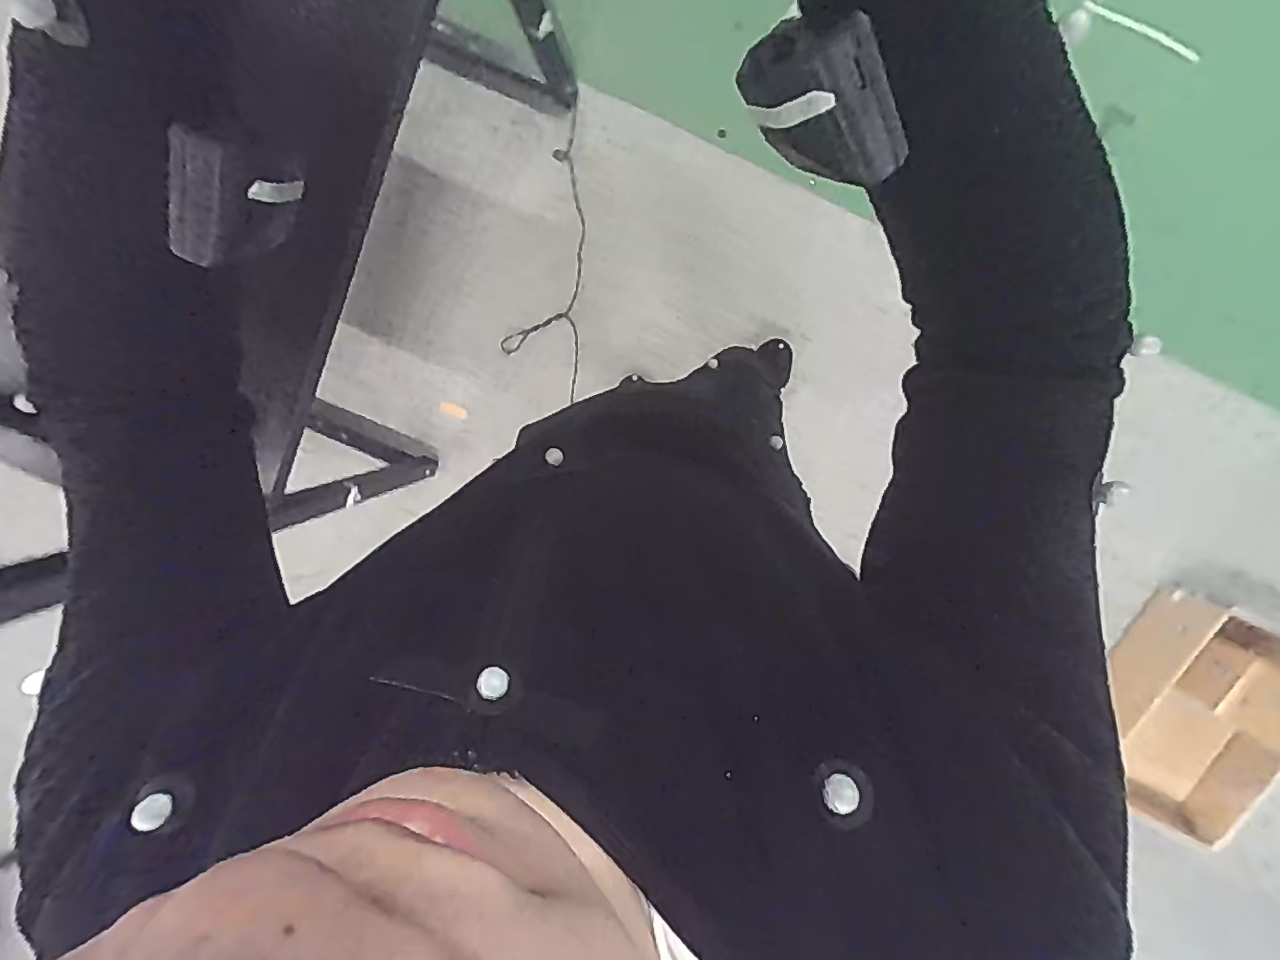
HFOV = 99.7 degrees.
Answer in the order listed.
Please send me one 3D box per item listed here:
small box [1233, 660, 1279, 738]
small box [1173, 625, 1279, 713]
[{"bbox_3d":[1.597,0.556,1.279,0.179,0.176,0.168,23,102,1],"label":"small box"},{"bbox_3d":[1.600,0.519,1.437,0.168,0.176,0.179,25,104,1],"label":"small box"}]
